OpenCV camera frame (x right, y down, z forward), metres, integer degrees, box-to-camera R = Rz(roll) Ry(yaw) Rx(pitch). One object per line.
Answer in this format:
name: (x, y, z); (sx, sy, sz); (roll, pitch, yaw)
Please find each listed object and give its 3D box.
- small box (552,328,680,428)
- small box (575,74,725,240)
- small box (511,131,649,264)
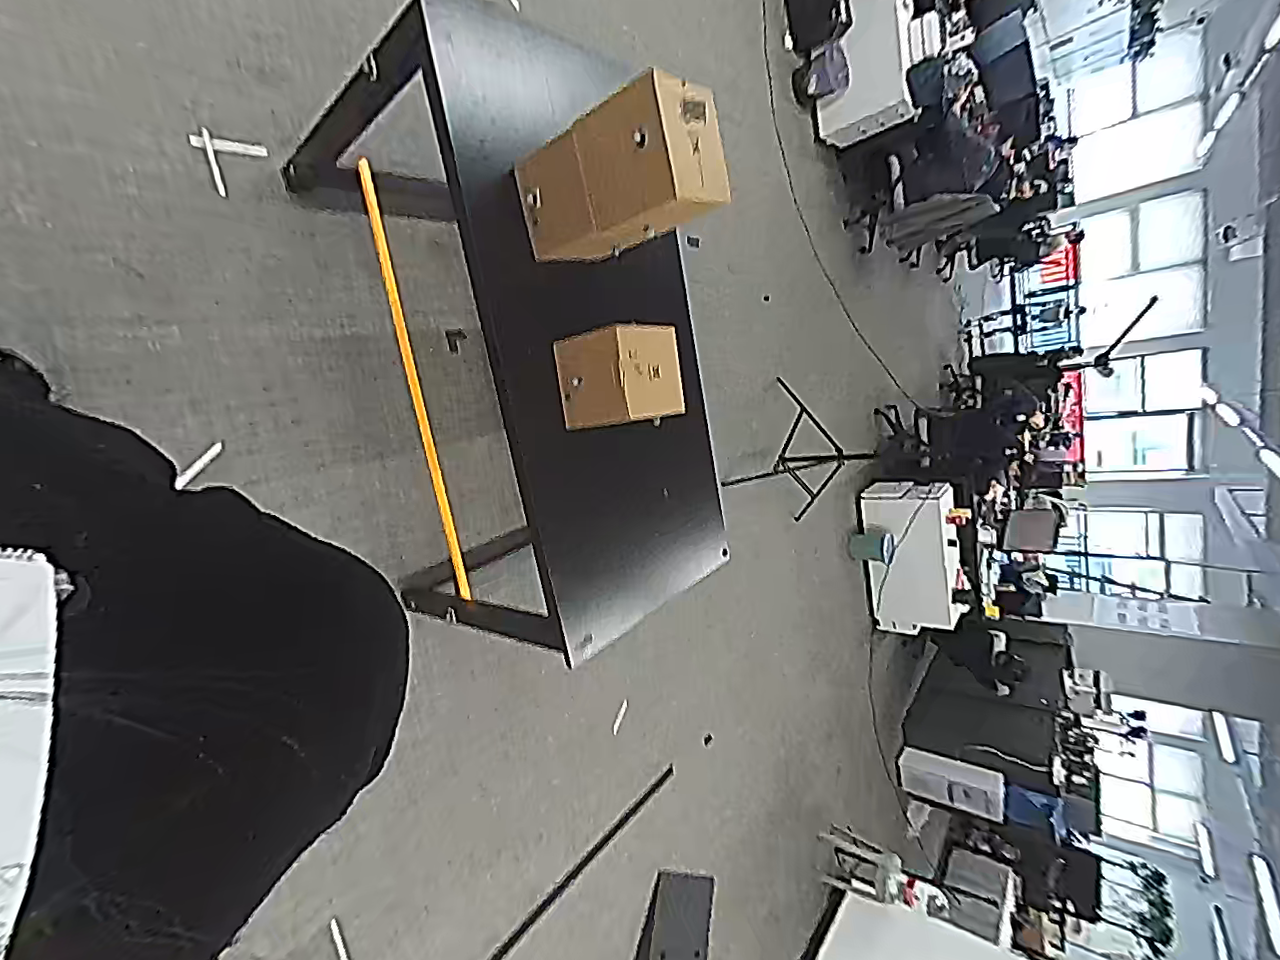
small box: (-0.046, -0.197, 1.058); (0.179, 0.176, 0.168); (-16, 100, -49)
small box: (0.015, -0.515, 0.892); (0.168, 0.176, 0.179); (-28, 109, -46)
small box: (-0.107, -0.510, 1.002); (0.179, 0.176, 0.168); (-27, 108, -46)
